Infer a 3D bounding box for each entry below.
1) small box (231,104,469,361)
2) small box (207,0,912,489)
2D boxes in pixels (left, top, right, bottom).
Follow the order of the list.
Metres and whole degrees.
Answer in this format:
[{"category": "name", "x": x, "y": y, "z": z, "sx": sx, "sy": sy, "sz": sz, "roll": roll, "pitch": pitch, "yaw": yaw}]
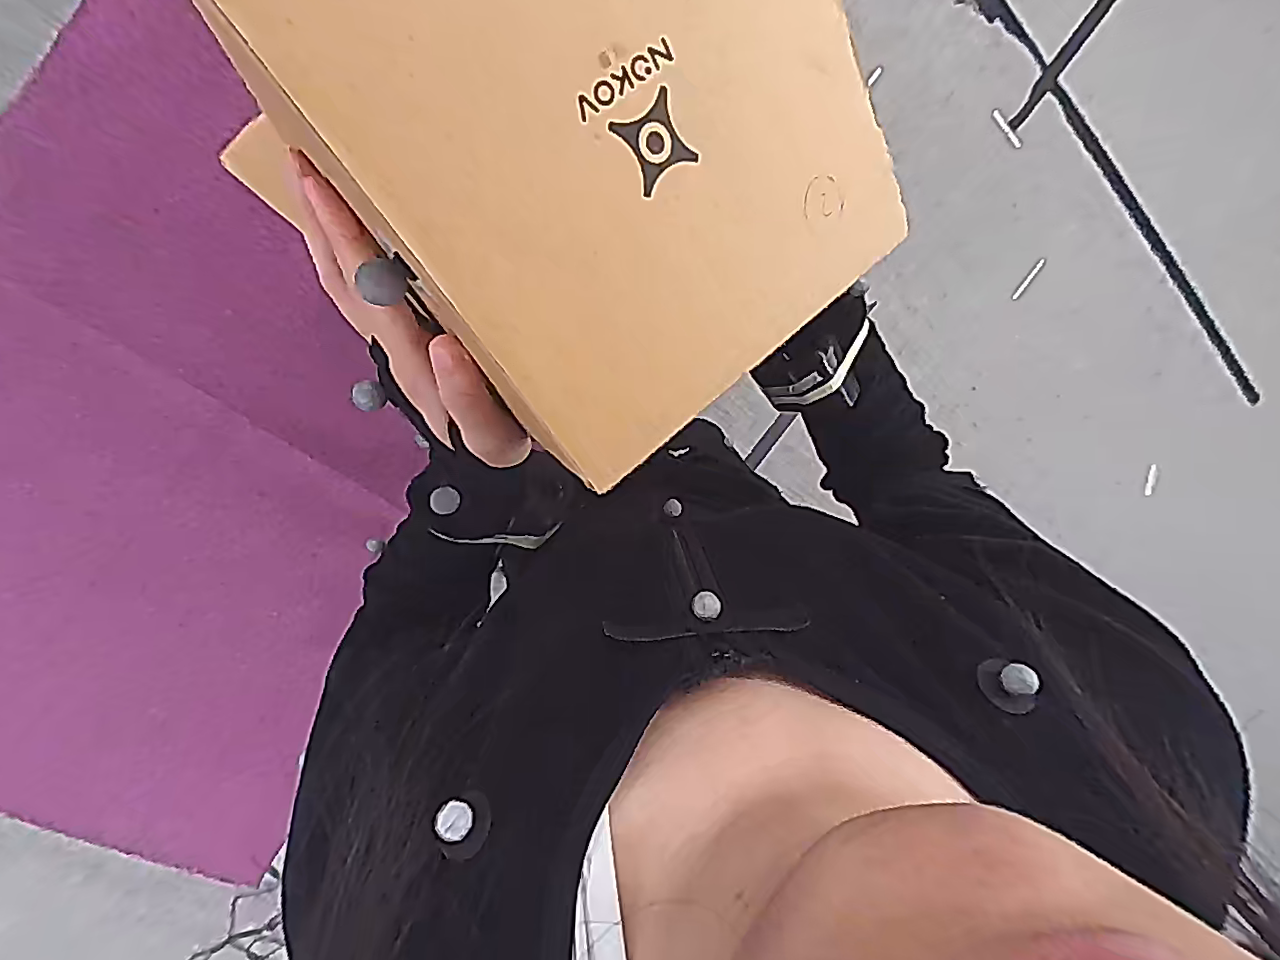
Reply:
[{"category": "small box", "x": -0.143, "y": -0.207, "z": 0.414, "sx": 0.179, "sy": 0.176, "sz": 0.168, "roll": 42, "pitch": 90, "yaw": -20}, {"category": "small box", "x": -0.027, "y": -0.130, "z": 0.236, "sx": 0.168, "sy": 0.176, "sz": 0.179, "roll": -40, "pitch": 118, "yaw": -8}]
